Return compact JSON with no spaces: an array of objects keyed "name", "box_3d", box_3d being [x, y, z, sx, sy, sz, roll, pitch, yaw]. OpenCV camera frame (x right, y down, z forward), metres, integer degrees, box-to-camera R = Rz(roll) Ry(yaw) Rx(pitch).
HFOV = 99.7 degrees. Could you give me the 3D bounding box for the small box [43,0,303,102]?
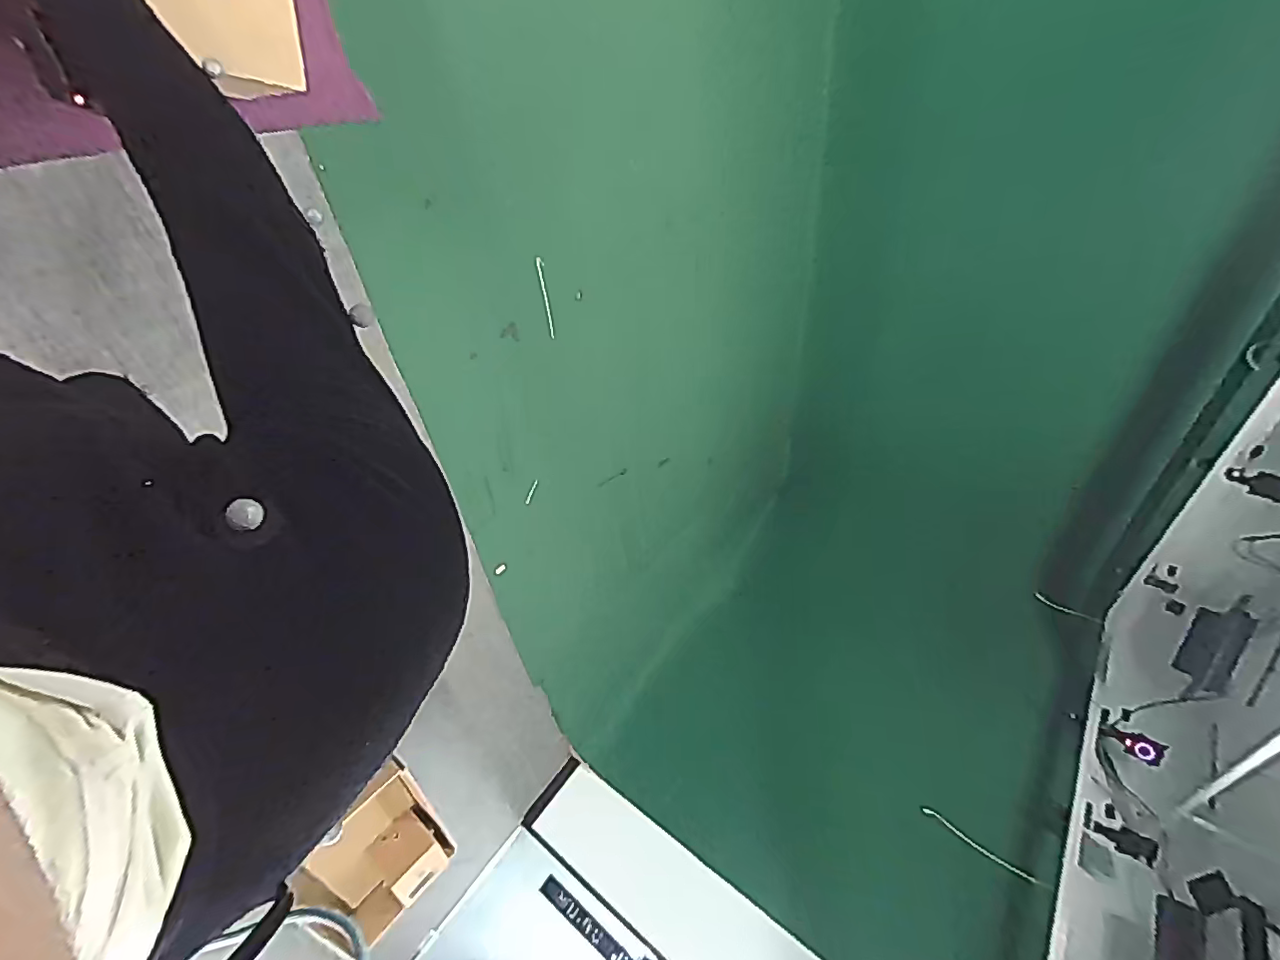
[{"name":"small box","box_3d":[-0.468,-0.494,0.533,0.168,0.176,0.179,-25,129,-48]}]
